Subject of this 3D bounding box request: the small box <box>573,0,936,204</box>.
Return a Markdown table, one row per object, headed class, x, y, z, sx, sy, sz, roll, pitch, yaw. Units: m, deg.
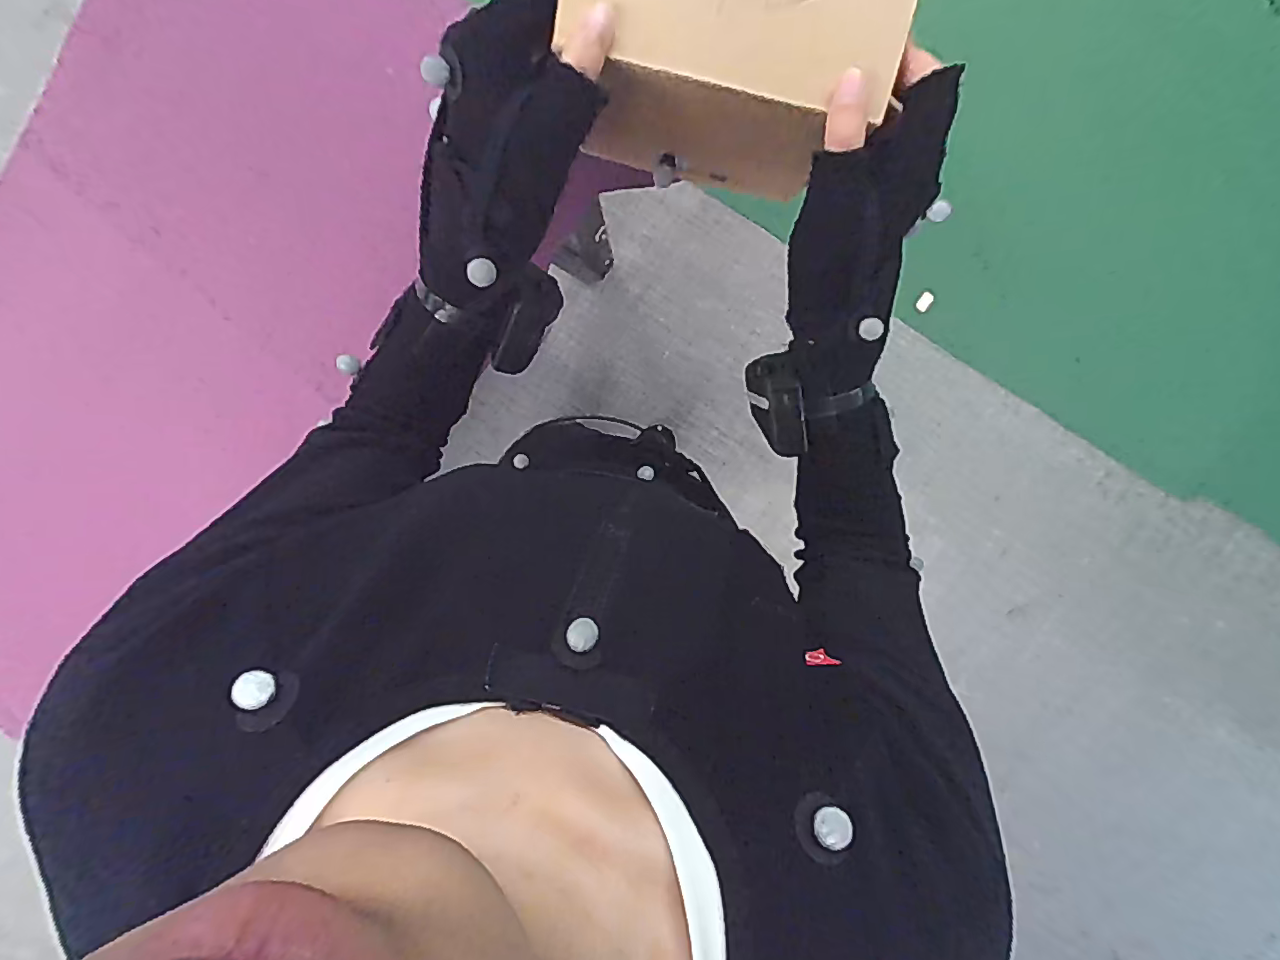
| class | x | y | z | sx | sy | sz | roll | pitch | yaw |
| --- | --- | --- | --- | --- | --- | --- | --- | --- | --- |
| small box | 0.063 | -0.289 | 0.315 | 0.168 | 0.176 | 0.179 | 12 | 105 | -4 |
